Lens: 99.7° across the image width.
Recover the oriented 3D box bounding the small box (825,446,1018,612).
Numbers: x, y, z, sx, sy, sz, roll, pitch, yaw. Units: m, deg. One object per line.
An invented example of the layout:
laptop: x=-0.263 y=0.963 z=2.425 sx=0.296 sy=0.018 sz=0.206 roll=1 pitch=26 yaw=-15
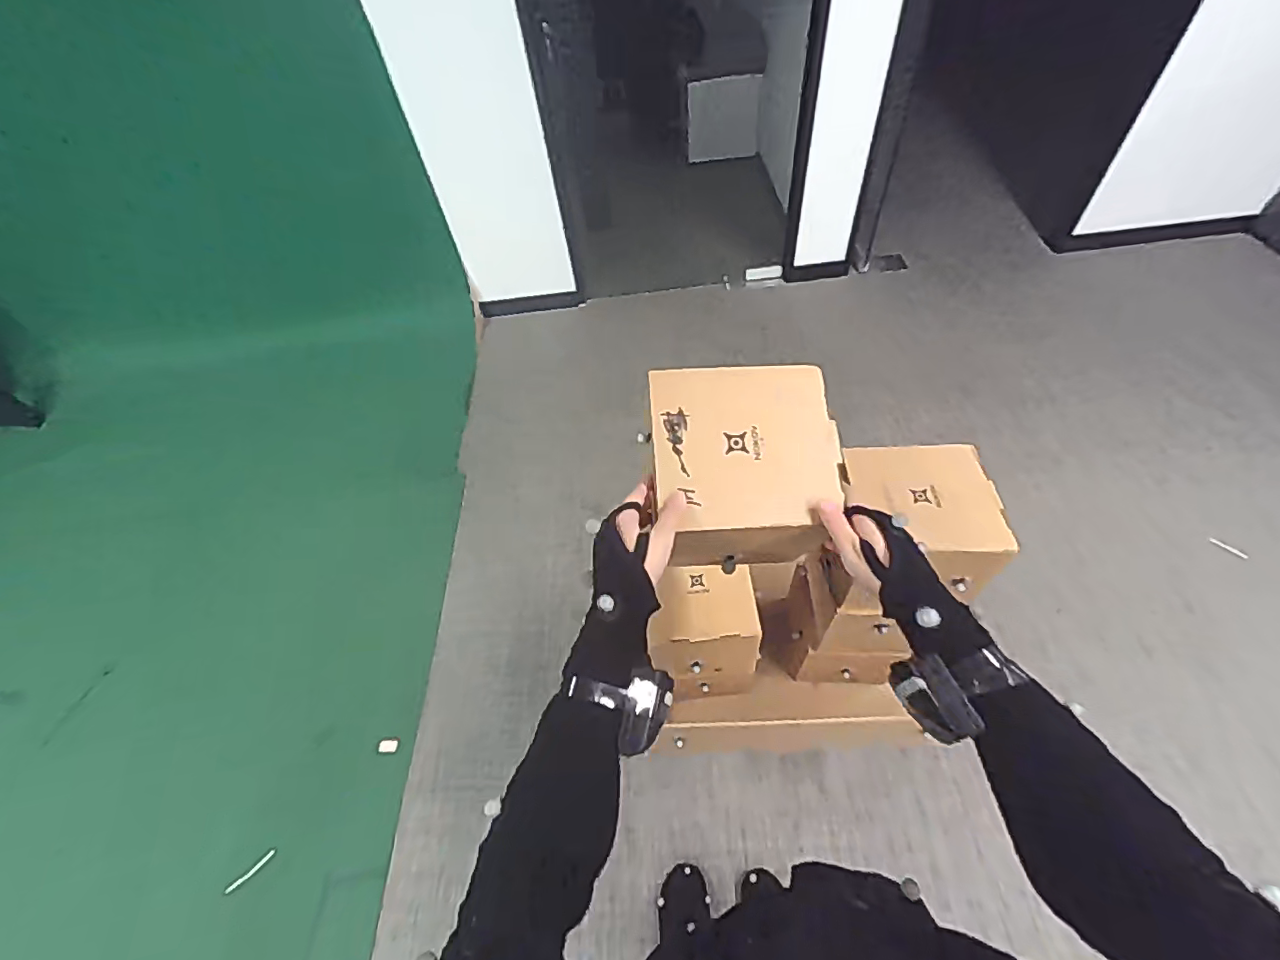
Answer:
small box: x=0.363 y=0.071 z=0.740 sx=0.179 sy=0.176 sz=0.168 roll=-2 pitch=52 yaw=6

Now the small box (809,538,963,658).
small box: x=0.374 y=0.177 z=0.864 sx=0.179 sy=0.176 sz=0.168 roll=-1 pitch=53 yaw=6

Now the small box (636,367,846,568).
small box: x=0.090 y=-0.005 z=0.577 sx=0.179 sy=0.176 sz=0.168 roll=-1 pitch=69 yaw=-4
